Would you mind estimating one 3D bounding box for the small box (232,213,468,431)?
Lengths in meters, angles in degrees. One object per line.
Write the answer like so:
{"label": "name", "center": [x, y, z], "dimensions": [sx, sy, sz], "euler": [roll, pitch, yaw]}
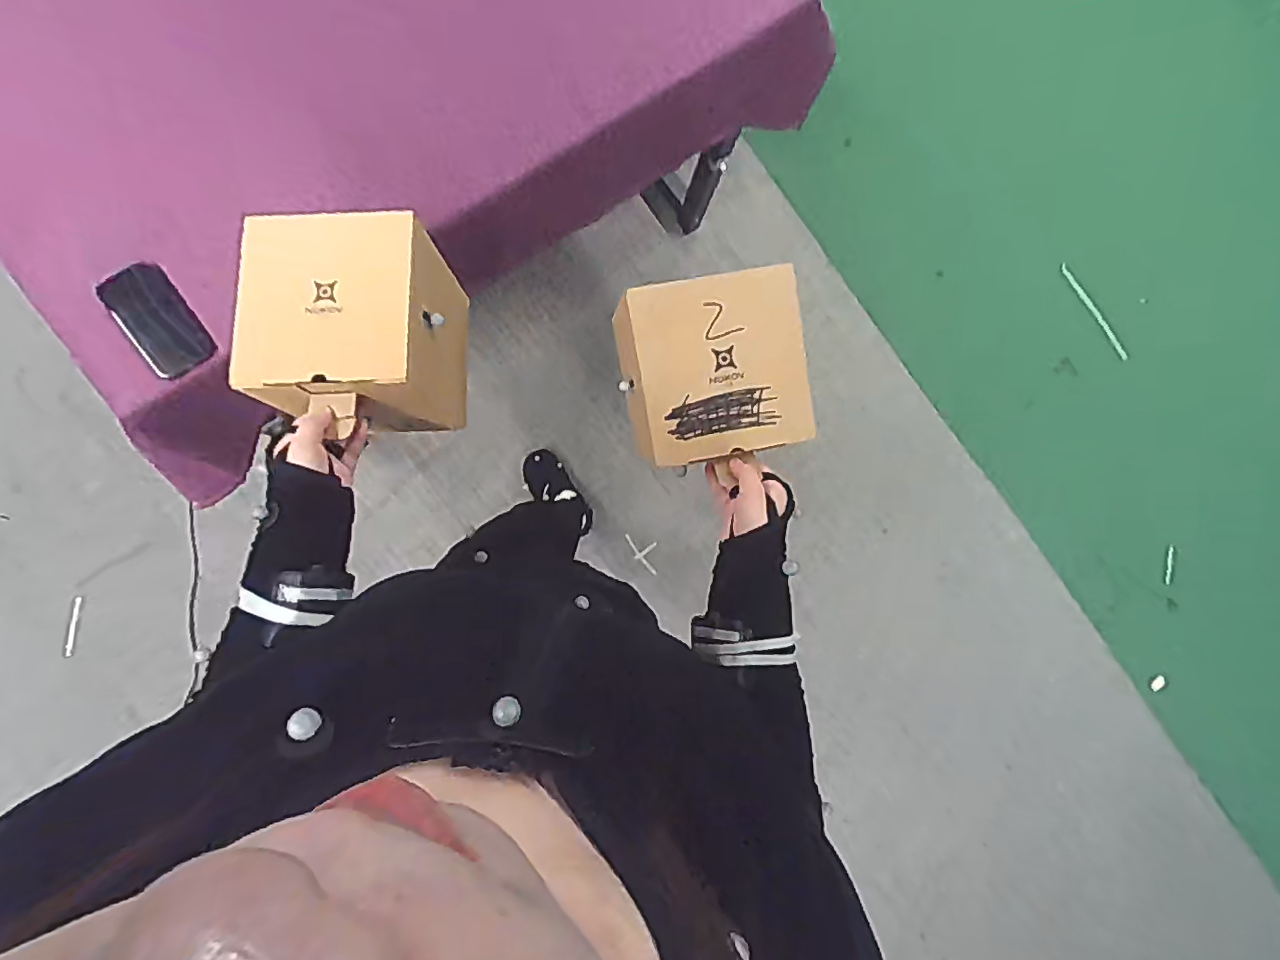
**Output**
{"label": "small box", "center": [-0.295, -0.160, 0.590], "dimensions": [0.168, 0.176, 0.179], "euler": [-2, 81, -1]}
